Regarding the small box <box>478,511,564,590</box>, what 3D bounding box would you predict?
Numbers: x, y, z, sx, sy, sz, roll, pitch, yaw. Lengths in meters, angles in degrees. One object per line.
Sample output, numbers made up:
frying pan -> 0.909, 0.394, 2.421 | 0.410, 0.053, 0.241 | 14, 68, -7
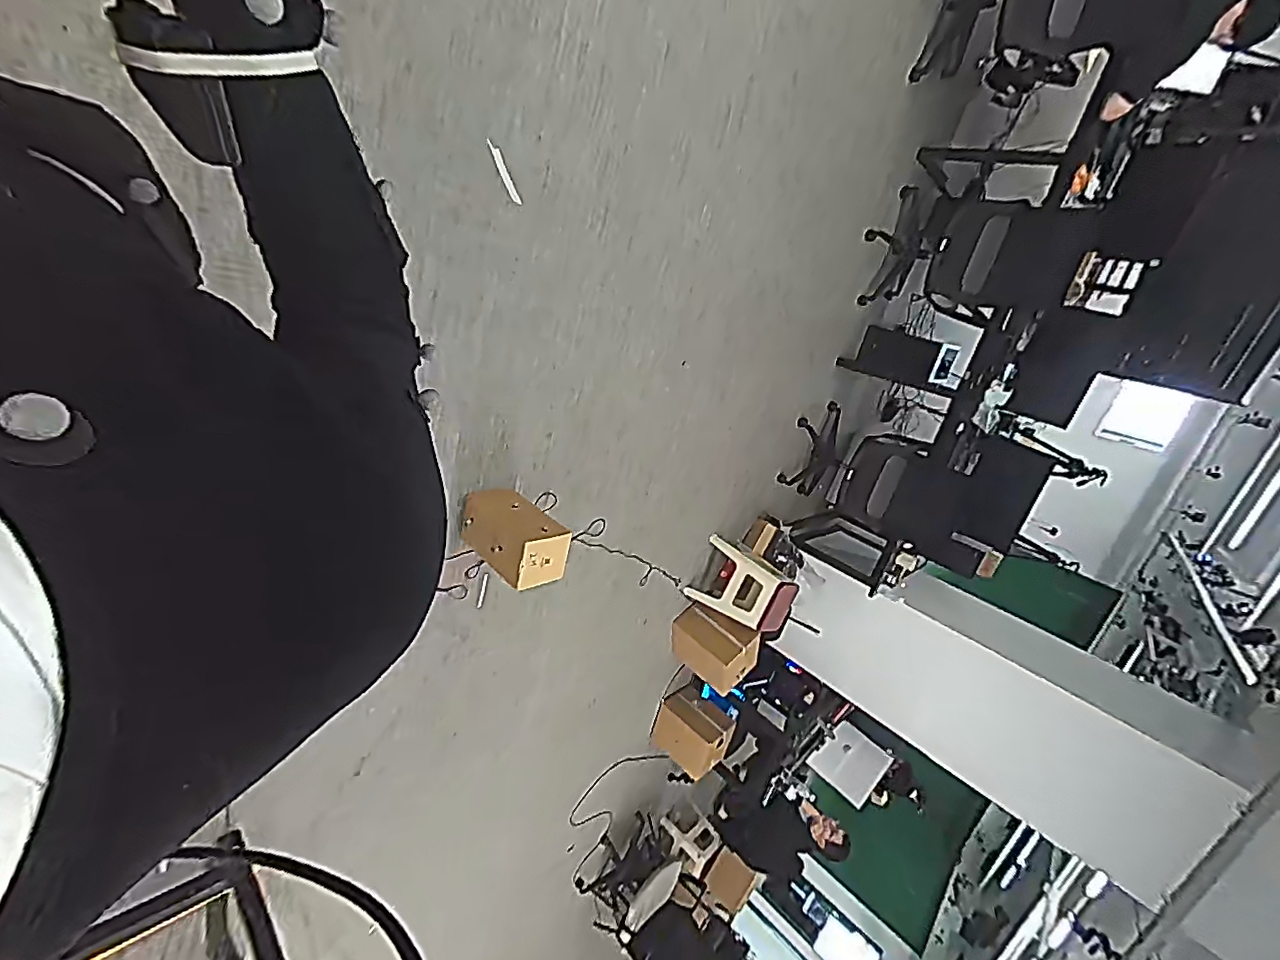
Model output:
small box -> -0.366, 0.207, 1.656 | 0.179, 0.176, 0.168 | -7, 118, -48

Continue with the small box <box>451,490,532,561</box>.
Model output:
small box -> -0.482, 0.141, 1.752 | 0.179, 0.176, 0.168 | -4, 116, -48
